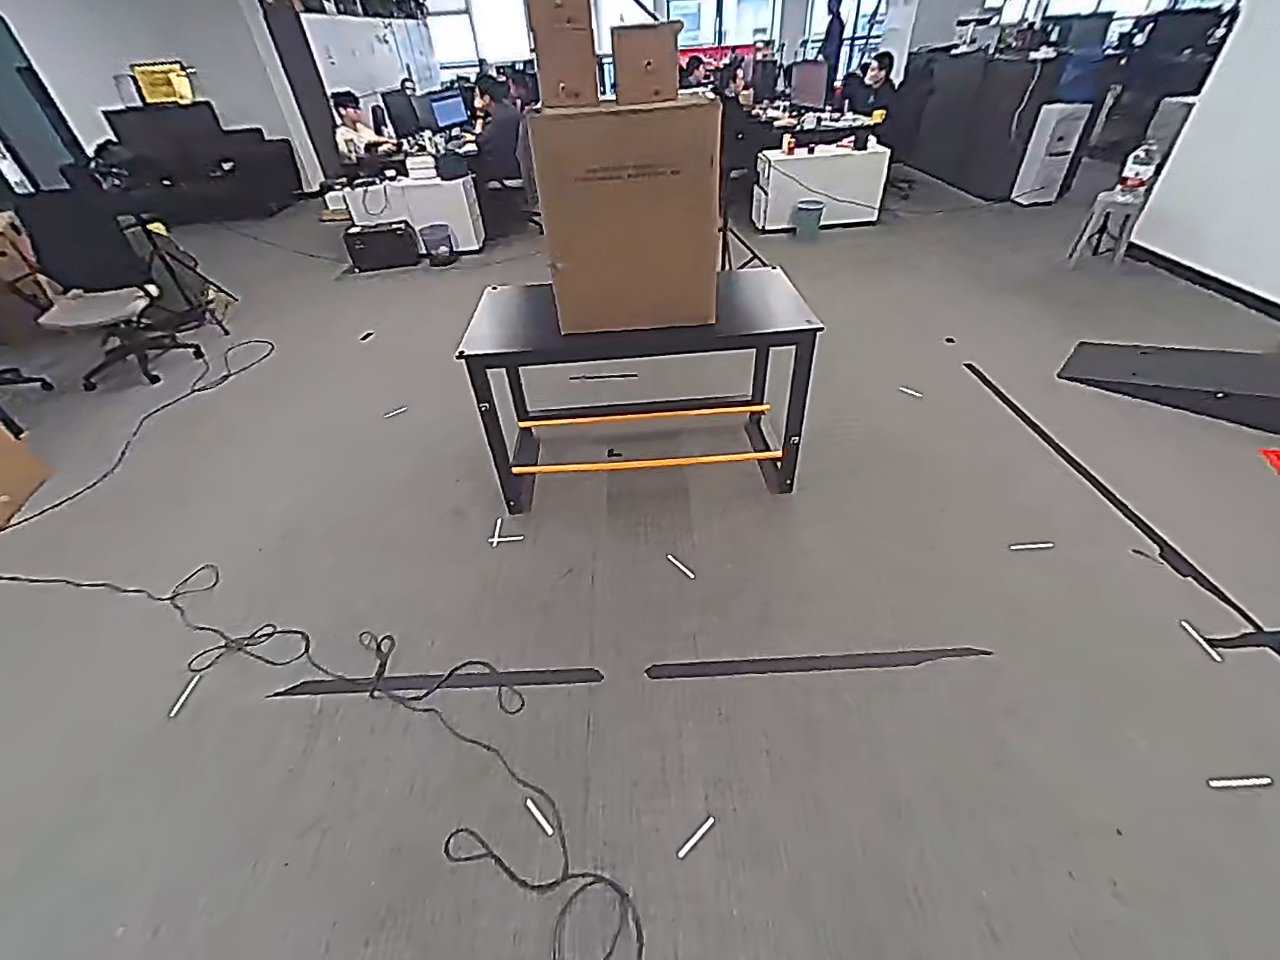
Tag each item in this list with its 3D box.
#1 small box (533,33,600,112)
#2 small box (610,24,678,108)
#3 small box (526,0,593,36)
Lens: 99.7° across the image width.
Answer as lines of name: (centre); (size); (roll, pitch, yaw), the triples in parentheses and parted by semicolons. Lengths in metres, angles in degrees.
small box: (-0.205, -1.151, 1.527); (0.168, 0.176, 0.179); (-7, 41, -4)
small box: (0.012, -1.147, 1.503); (0.168, 0.176, 0.179); (-8, 41, -3)
small box: (-0.215, -1.276, 1.420); (0.168, 0.176, 0.179); (-6, 40, -2)
